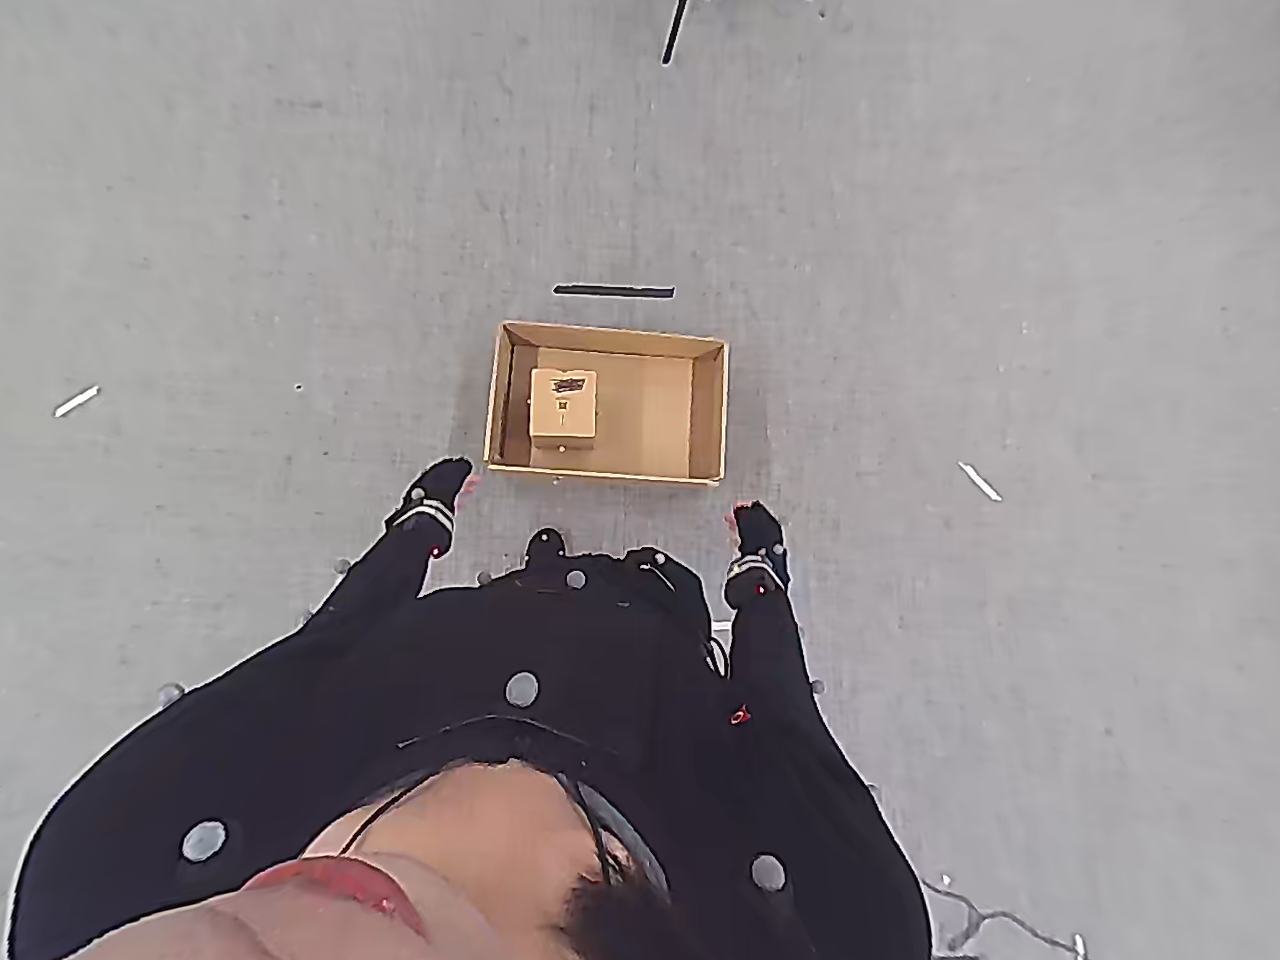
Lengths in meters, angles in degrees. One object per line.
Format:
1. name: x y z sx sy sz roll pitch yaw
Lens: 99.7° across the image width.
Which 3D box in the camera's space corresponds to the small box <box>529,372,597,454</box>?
1. small box: -0.202 -0.175 1.446 0.168 0.176 0.179 1 82 -5
